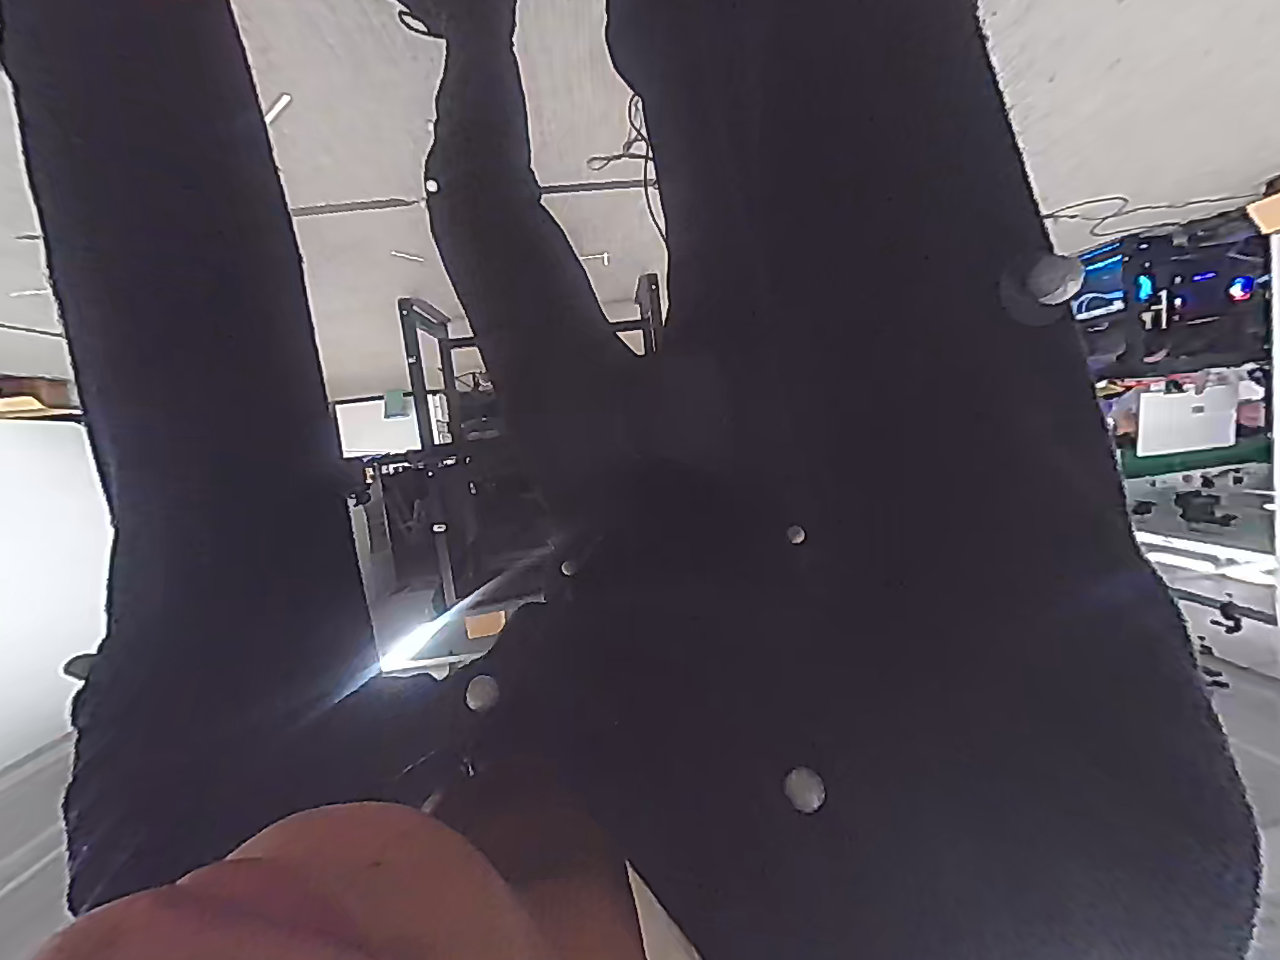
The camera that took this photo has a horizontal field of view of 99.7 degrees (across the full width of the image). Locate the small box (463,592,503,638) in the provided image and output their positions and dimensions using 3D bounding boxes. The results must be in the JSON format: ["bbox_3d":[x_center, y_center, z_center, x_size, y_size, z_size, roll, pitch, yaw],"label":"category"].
[{"bbox_3d":[-0.793,0.679,2.742,0.168,0.176,0.179,-8,-175,-9],"label":"small box"}]
